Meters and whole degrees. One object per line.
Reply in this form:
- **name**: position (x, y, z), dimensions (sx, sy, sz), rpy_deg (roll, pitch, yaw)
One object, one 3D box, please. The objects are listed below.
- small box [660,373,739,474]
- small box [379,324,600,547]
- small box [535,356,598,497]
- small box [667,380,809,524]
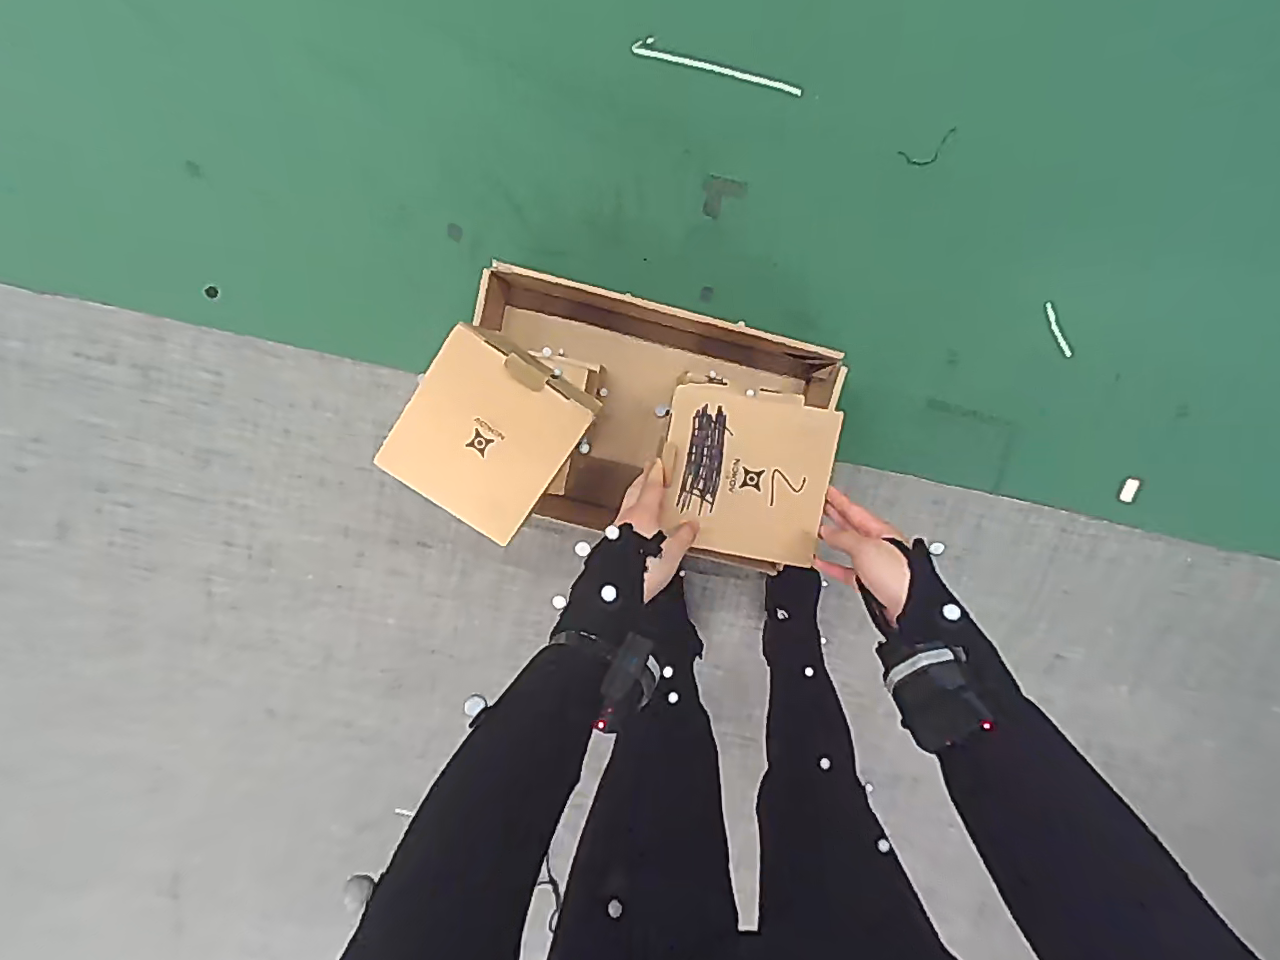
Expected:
- **small box**: position (0.136, -0.082, 0.964), dimensions (0.168, 0.176, 0.179), rpy_deg (18, 100, -2)
- **small box**: position (-0.157, -0.055, 0.634), dimensions (0.168, 0.176, 0.179), rpy_deg (35, 98, -7)
- **small box**: position (-0.160, -0.091, 0.793), dimensions (0.168, 0.176, 0.179), rpy_deg (13, 99, -3)
- **small box**: position (0.133, -0.051, 0.804), dimensions (0.168, 0.176, 0.179), rpy_deg (9, 102, 1)
